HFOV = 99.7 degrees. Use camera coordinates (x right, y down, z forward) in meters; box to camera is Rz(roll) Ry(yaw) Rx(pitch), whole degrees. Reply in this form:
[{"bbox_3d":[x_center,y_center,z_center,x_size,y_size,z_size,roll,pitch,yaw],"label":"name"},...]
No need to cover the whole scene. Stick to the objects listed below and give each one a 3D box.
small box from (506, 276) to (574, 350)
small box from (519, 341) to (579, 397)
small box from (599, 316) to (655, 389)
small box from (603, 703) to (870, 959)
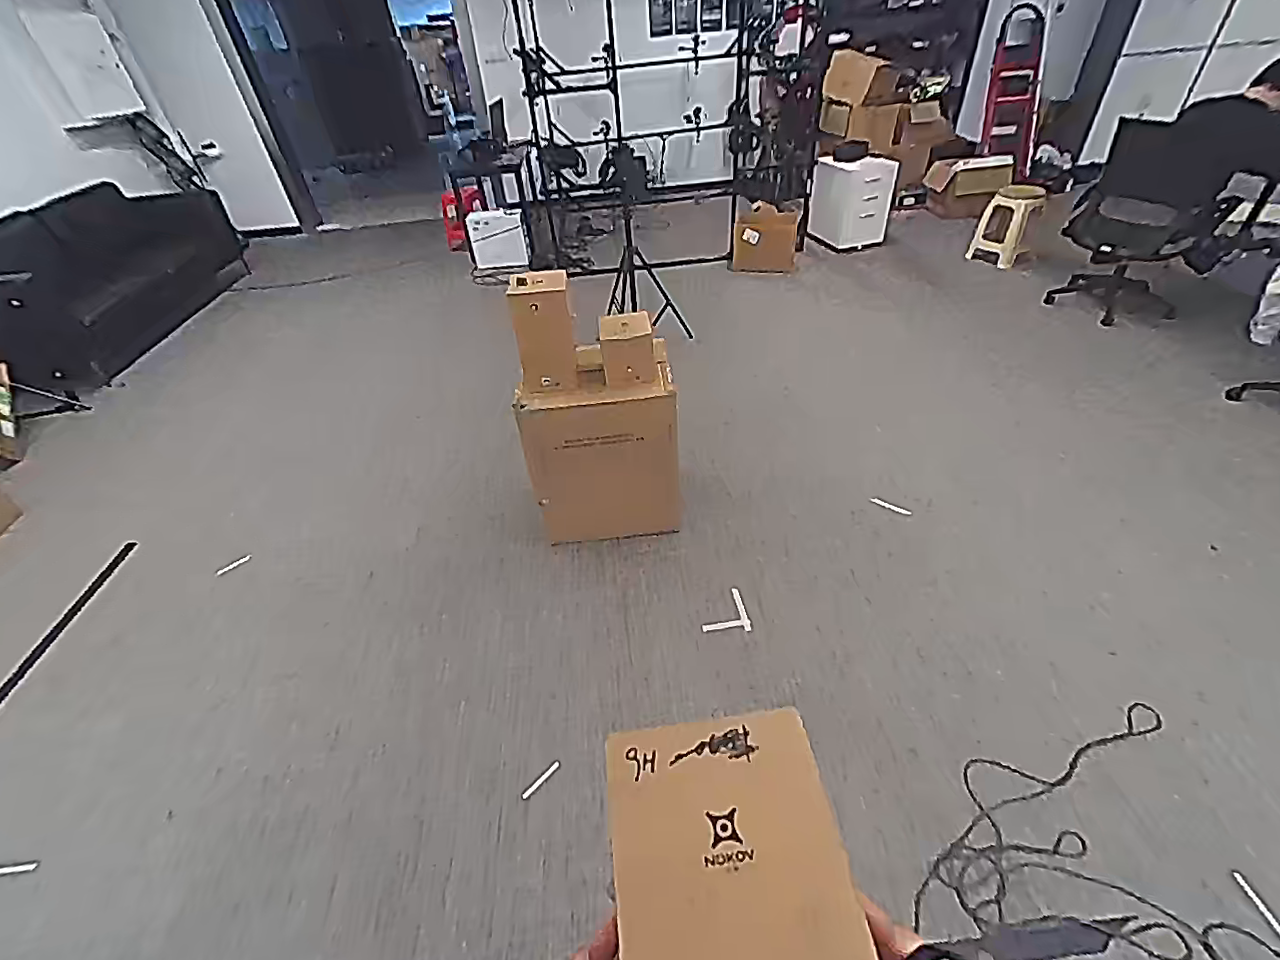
[{"bbox_3d":[-0.306,-0.517,1.687,0.179,0.176,0.168,-6,41,-2],"label":"small box"},{"bbox_3d":[-0.296,-0.395,1.795,0.168,0.176,0.179,-7,42,-1],"label":"small box"},{"bbox_3d":[-0.044,-0.421,1.793,0.168,0.176,0.179,-8,41,1],"label":"small box"},{"bbox_3d":[0.065,0.315,0.455,0.168,0.176,0.179,-8,47,-2],"label":"small box"}]
